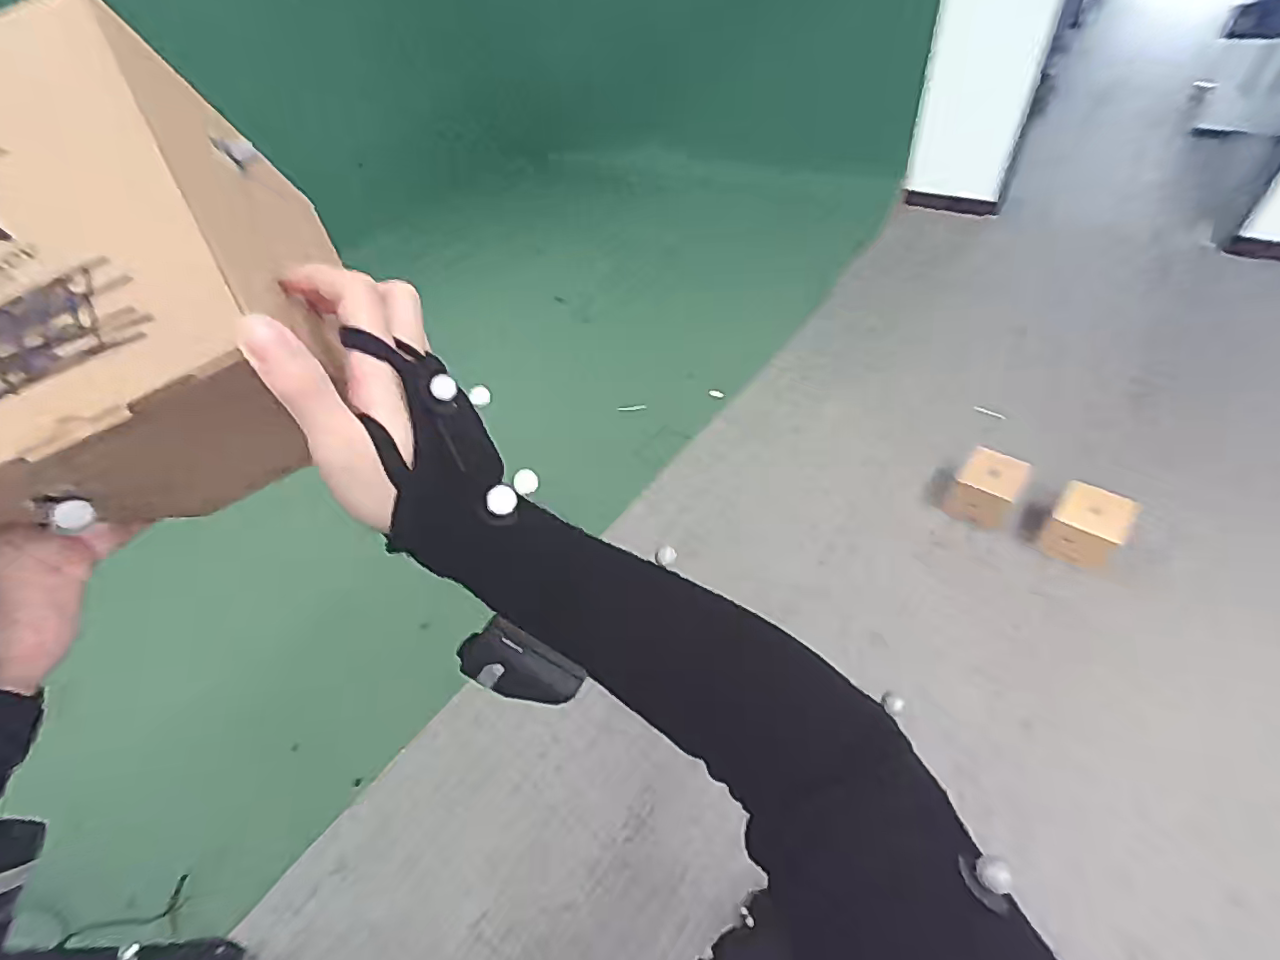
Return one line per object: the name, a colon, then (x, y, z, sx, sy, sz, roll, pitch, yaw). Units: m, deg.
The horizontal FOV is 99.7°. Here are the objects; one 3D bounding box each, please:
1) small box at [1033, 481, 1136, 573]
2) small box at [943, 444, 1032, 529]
small box: (1.299, 0.143, 1.593, 0.168, 0.176, 0.179, 31, 62, 30)
small box: (1.097, 0.024, 1.722, 0.168, 0.176, 0.179, 31, 63, 29)
